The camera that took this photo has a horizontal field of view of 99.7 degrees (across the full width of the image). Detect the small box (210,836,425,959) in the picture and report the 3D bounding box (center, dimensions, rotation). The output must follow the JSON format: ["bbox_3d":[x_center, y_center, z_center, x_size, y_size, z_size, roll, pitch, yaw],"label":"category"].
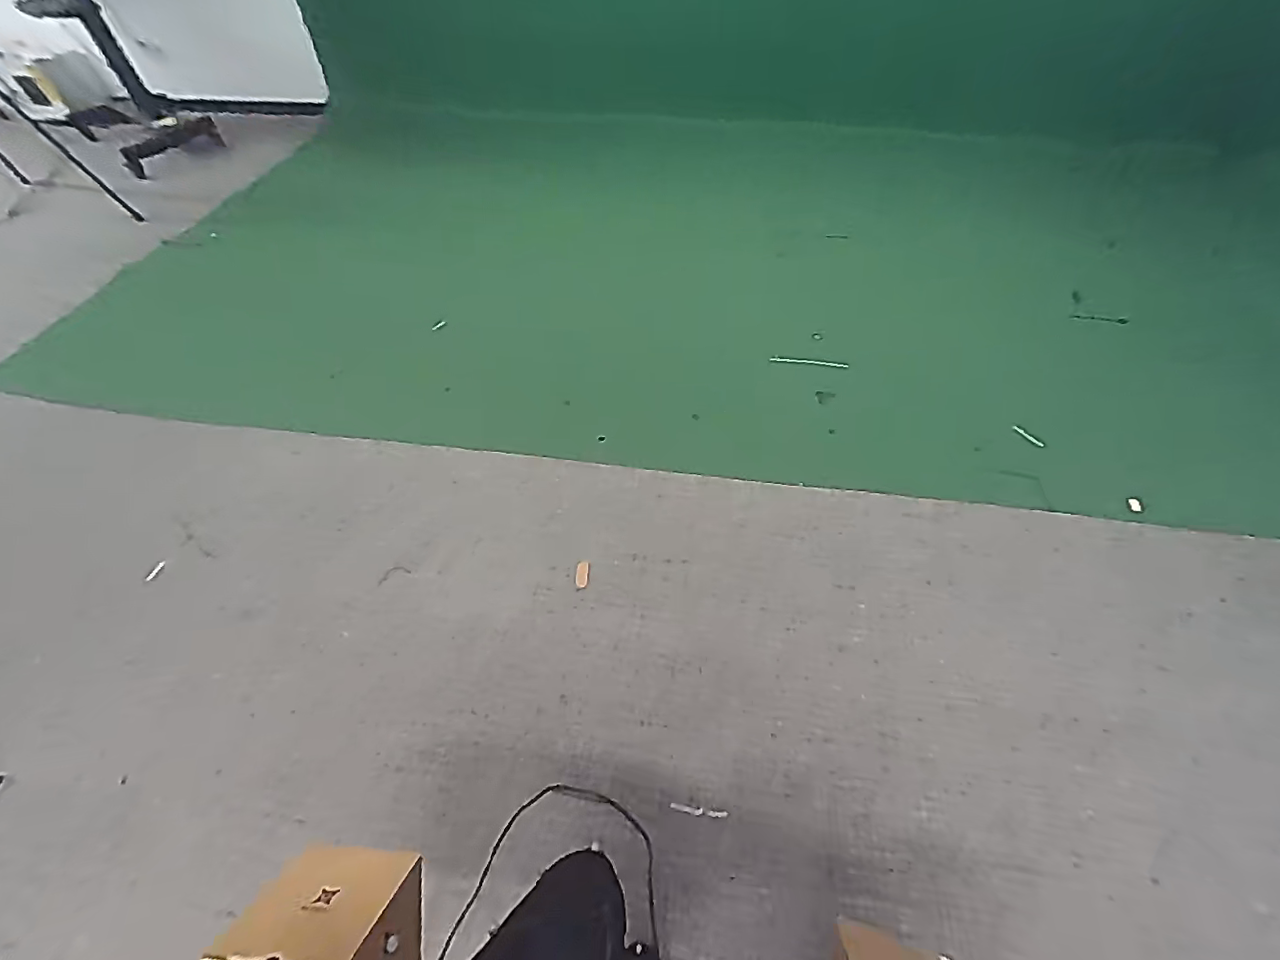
[{"bbox_3d":[-0.386,0.587,0.668,0.168,0.179,0.176,2,94,5],"label":"small box"}]
